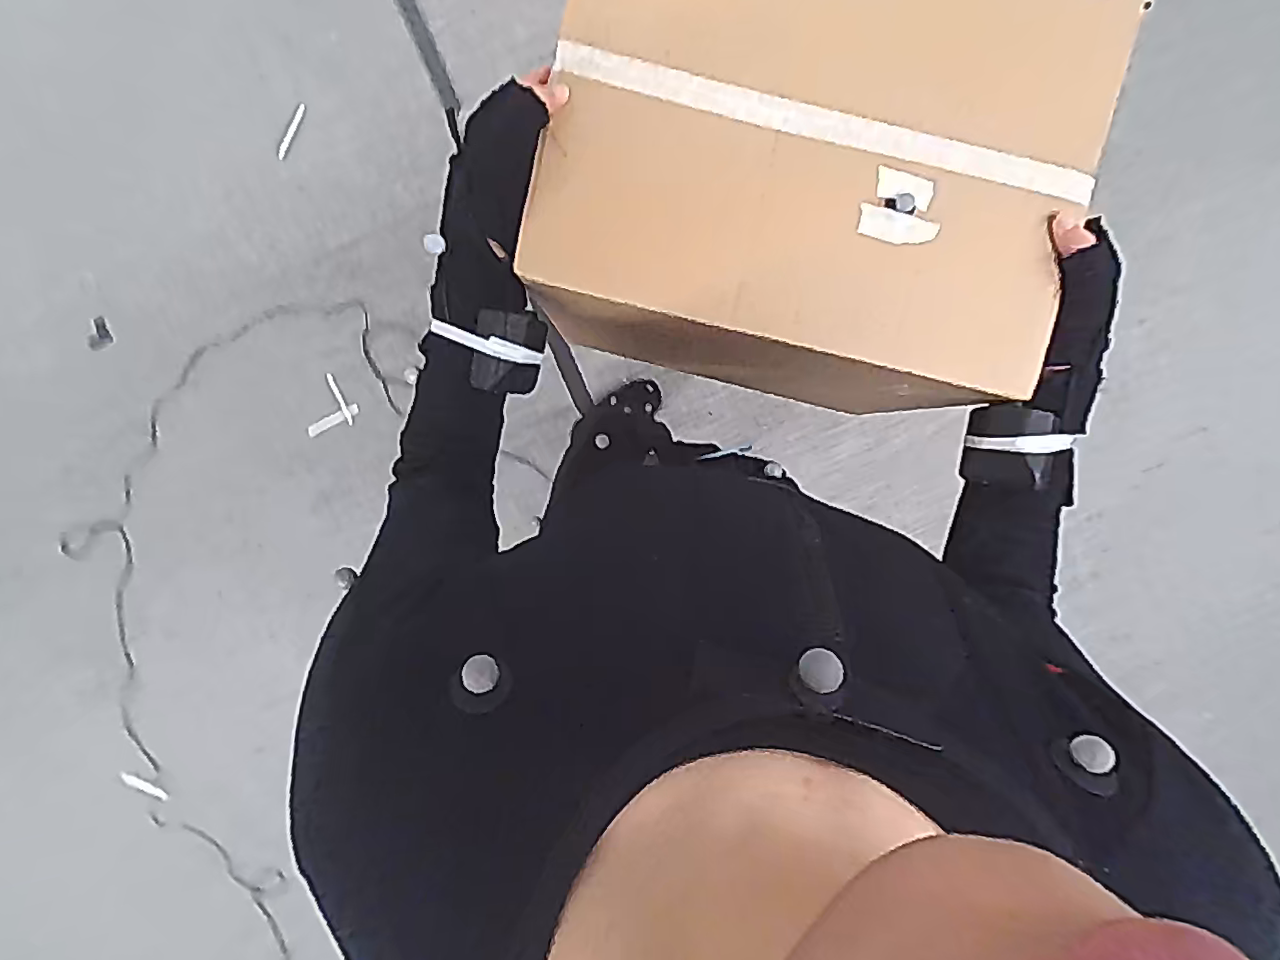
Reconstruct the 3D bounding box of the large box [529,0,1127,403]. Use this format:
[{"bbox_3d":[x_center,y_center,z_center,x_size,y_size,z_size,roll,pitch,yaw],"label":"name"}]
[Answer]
[{"bbox_3d":[0.135,-0.280,0.556,0.408,0.320,0.320,14,96,-3],"label":"large box"}]
